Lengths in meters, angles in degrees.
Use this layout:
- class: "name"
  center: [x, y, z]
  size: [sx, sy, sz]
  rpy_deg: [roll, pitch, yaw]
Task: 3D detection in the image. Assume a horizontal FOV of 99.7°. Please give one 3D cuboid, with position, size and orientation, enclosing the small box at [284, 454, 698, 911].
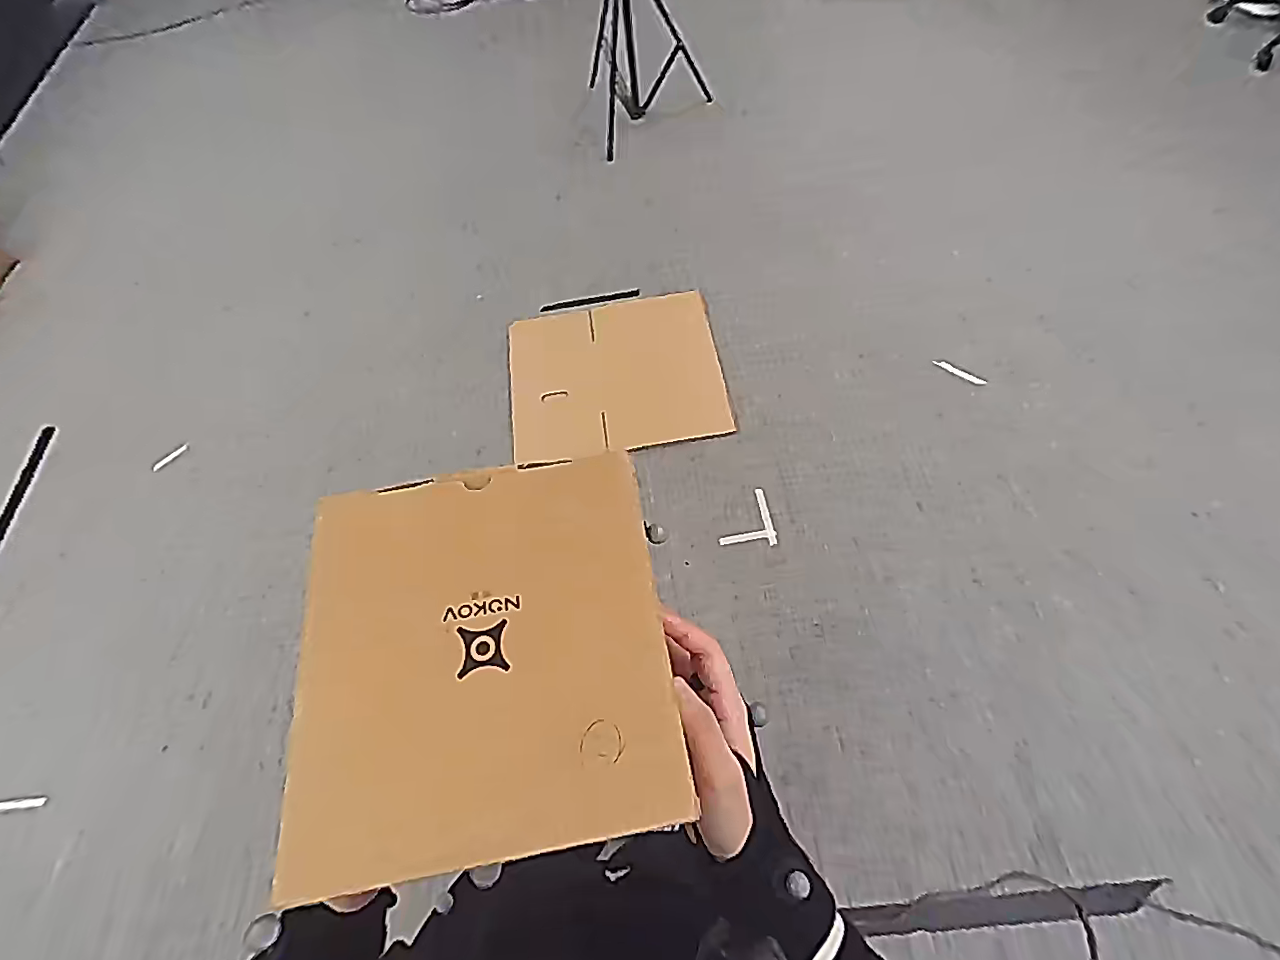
- class: "small box"
  center: [-0.067, 0.110, 0.316]
  size: [0.168, 0.176, 0.179]
  rpy_deg: [-9, 62, -4]
